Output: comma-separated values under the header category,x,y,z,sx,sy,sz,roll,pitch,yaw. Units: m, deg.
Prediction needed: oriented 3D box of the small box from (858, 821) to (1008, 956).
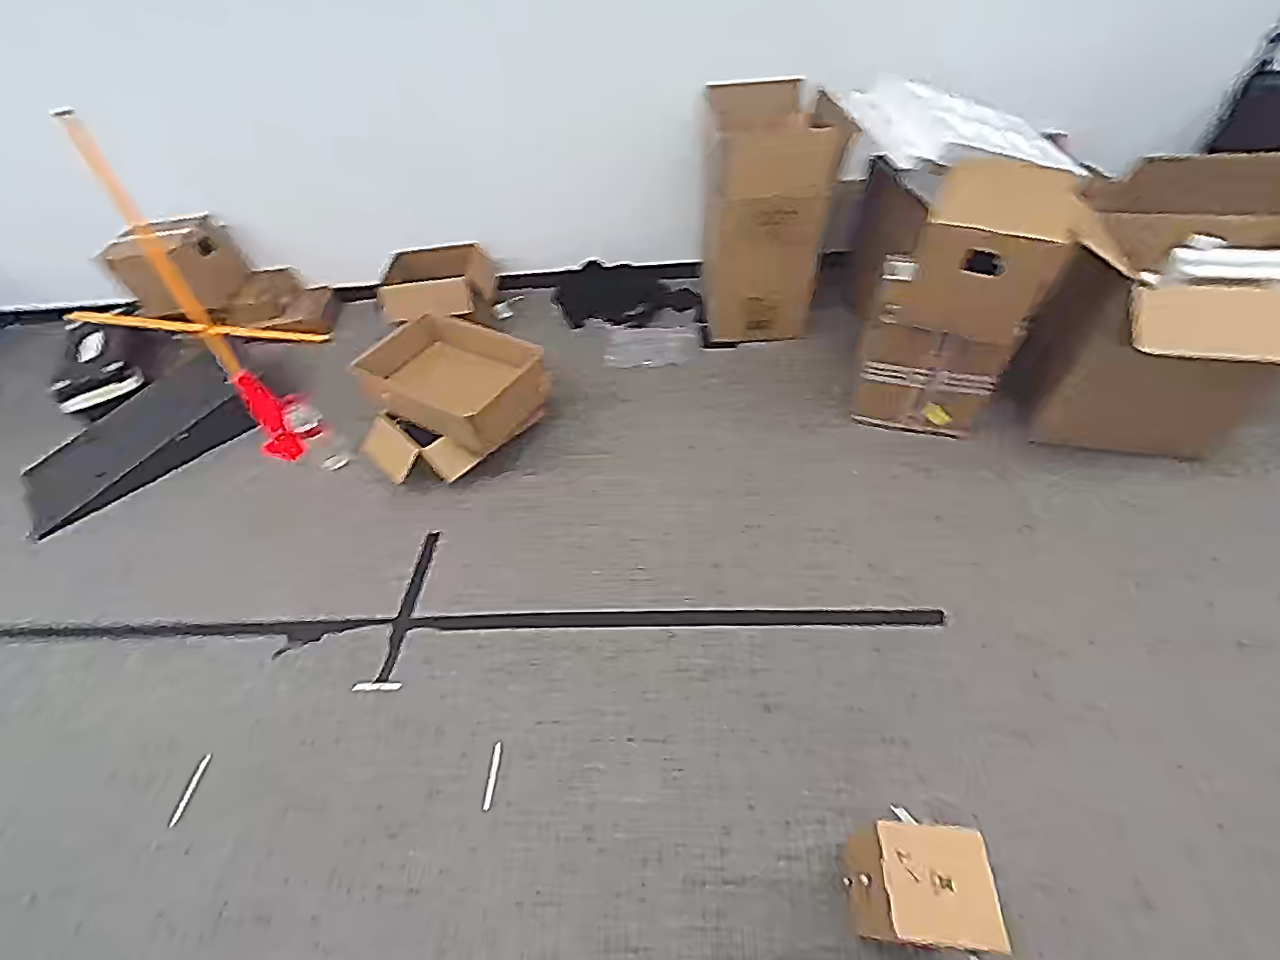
category,x,y,z,sx,sy,sz,roll,pitch,yaw
small box,0.506,0.725,0.963,0.179,0.176,0.168,1,49,9
